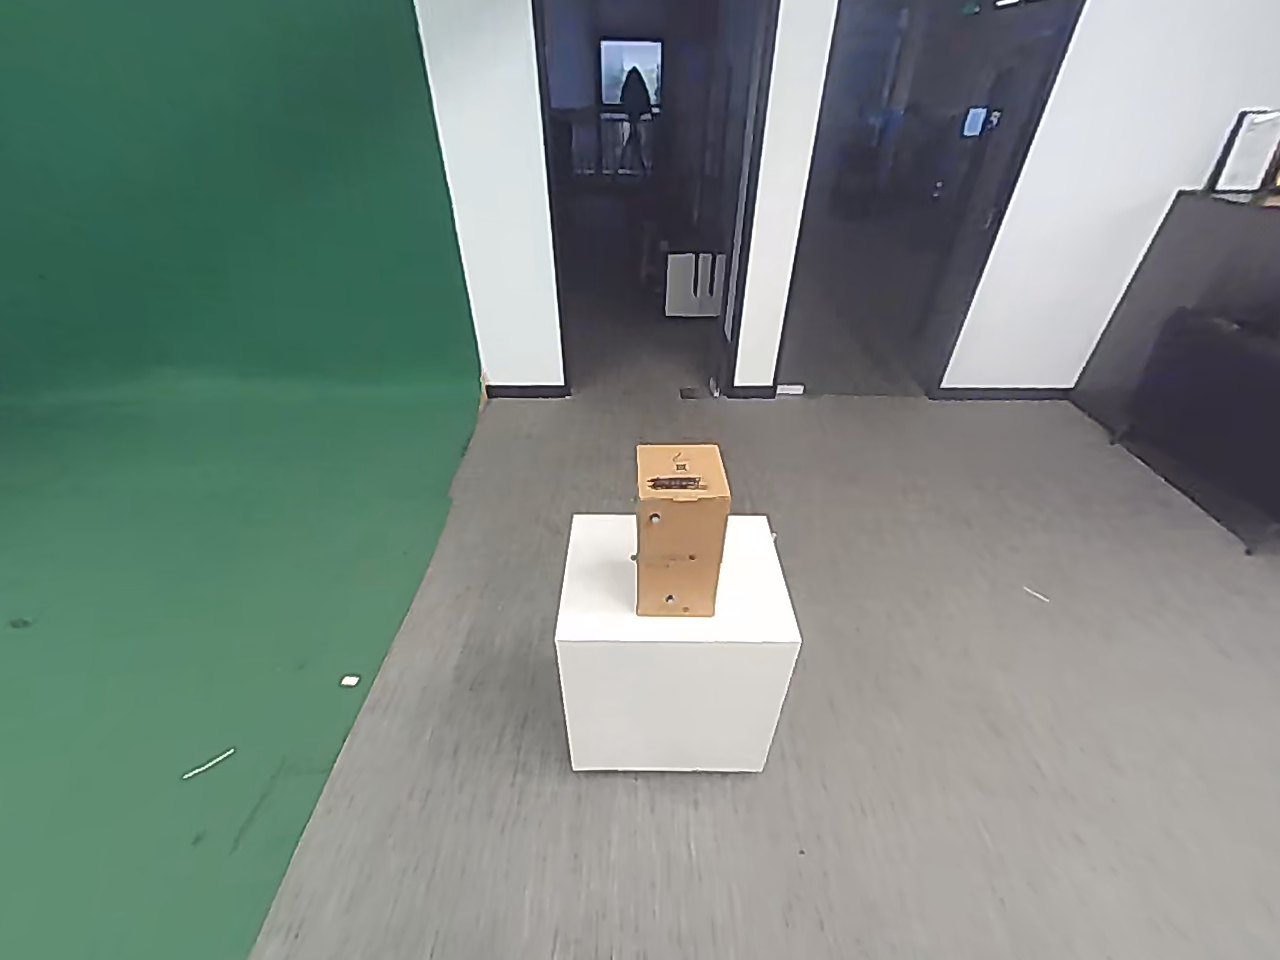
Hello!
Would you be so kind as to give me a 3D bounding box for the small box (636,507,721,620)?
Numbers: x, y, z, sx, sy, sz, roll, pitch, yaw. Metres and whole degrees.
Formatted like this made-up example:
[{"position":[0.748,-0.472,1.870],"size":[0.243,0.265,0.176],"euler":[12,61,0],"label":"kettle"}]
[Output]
[{"position":[0.075,0.177,1.162],"size":[0.168,0.176,0.179],"euler":[0,36,0],"label":"small box"}]
